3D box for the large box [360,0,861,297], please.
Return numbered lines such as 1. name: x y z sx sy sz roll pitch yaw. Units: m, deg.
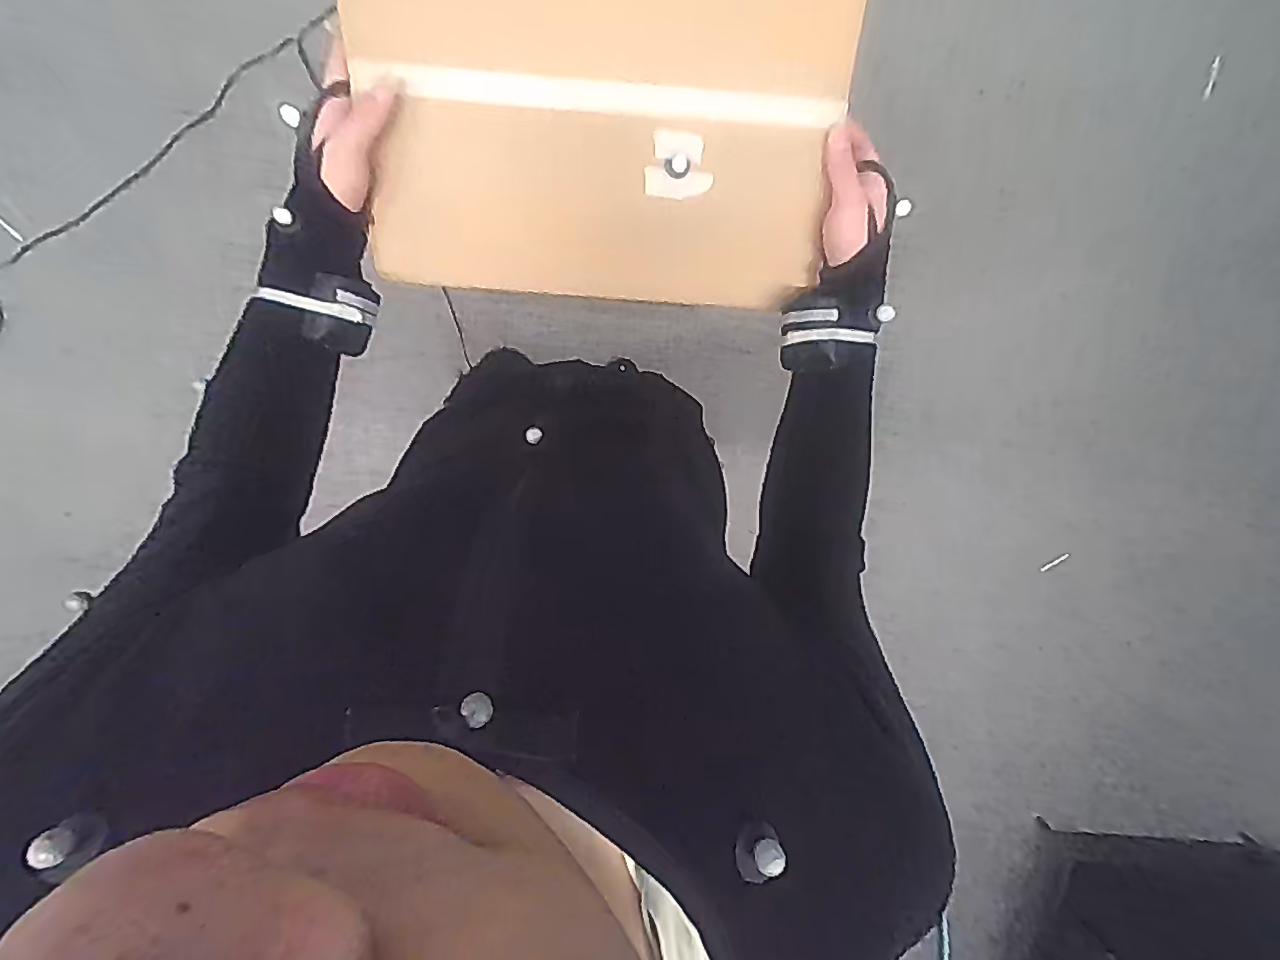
1. large box: -0.031 -0.383 0.587 0.408 0.320 0.320 3 115 -3
